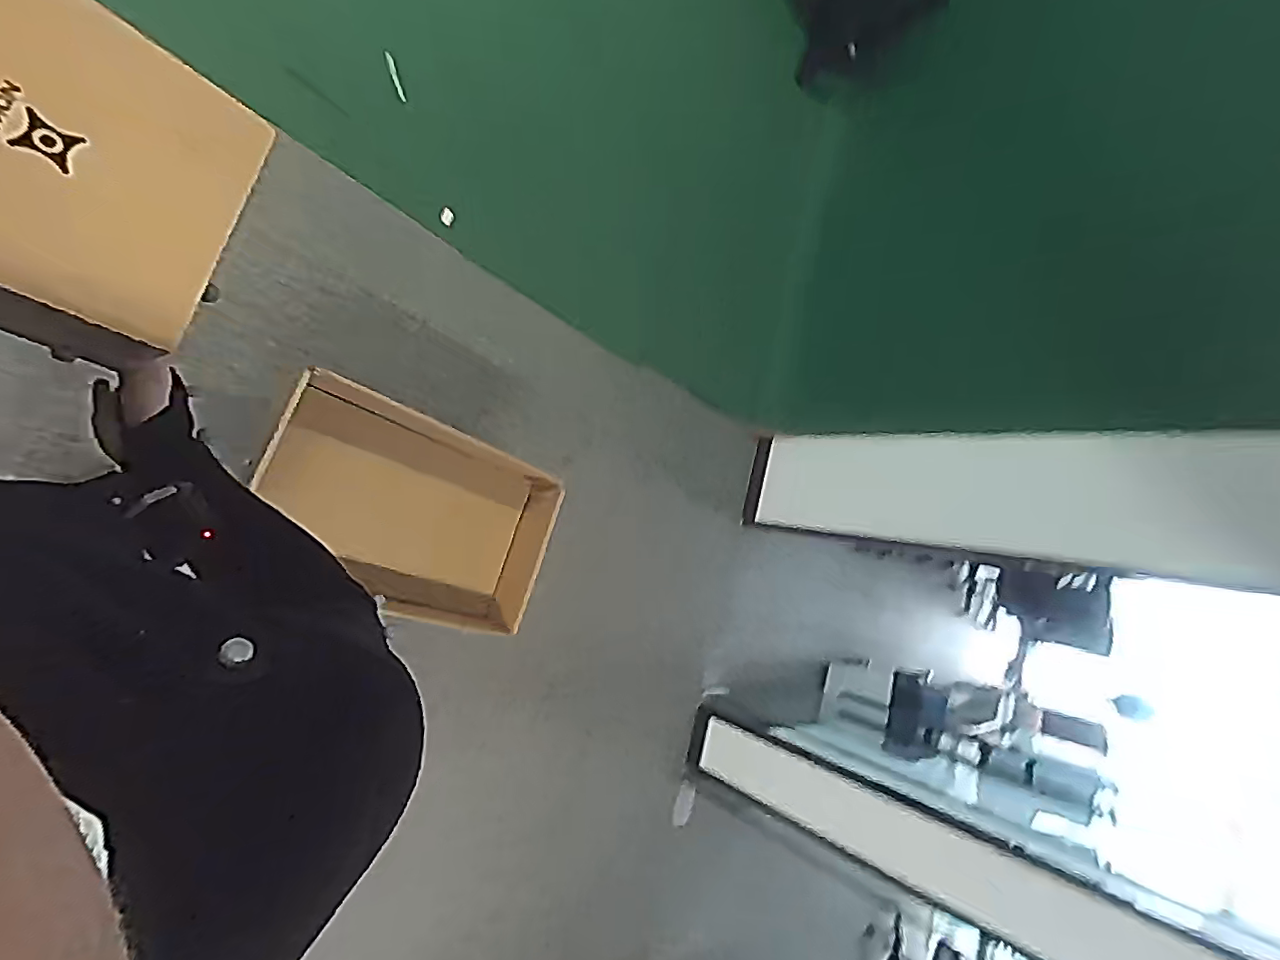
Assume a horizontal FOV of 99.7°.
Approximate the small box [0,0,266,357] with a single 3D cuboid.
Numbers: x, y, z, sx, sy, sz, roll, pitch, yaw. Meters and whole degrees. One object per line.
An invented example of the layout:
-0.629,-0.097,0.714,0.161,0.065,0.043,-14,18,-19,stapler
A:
-0.378,-0.188,0.332,0.179,0.176,0.168,25,78,-47,small box
